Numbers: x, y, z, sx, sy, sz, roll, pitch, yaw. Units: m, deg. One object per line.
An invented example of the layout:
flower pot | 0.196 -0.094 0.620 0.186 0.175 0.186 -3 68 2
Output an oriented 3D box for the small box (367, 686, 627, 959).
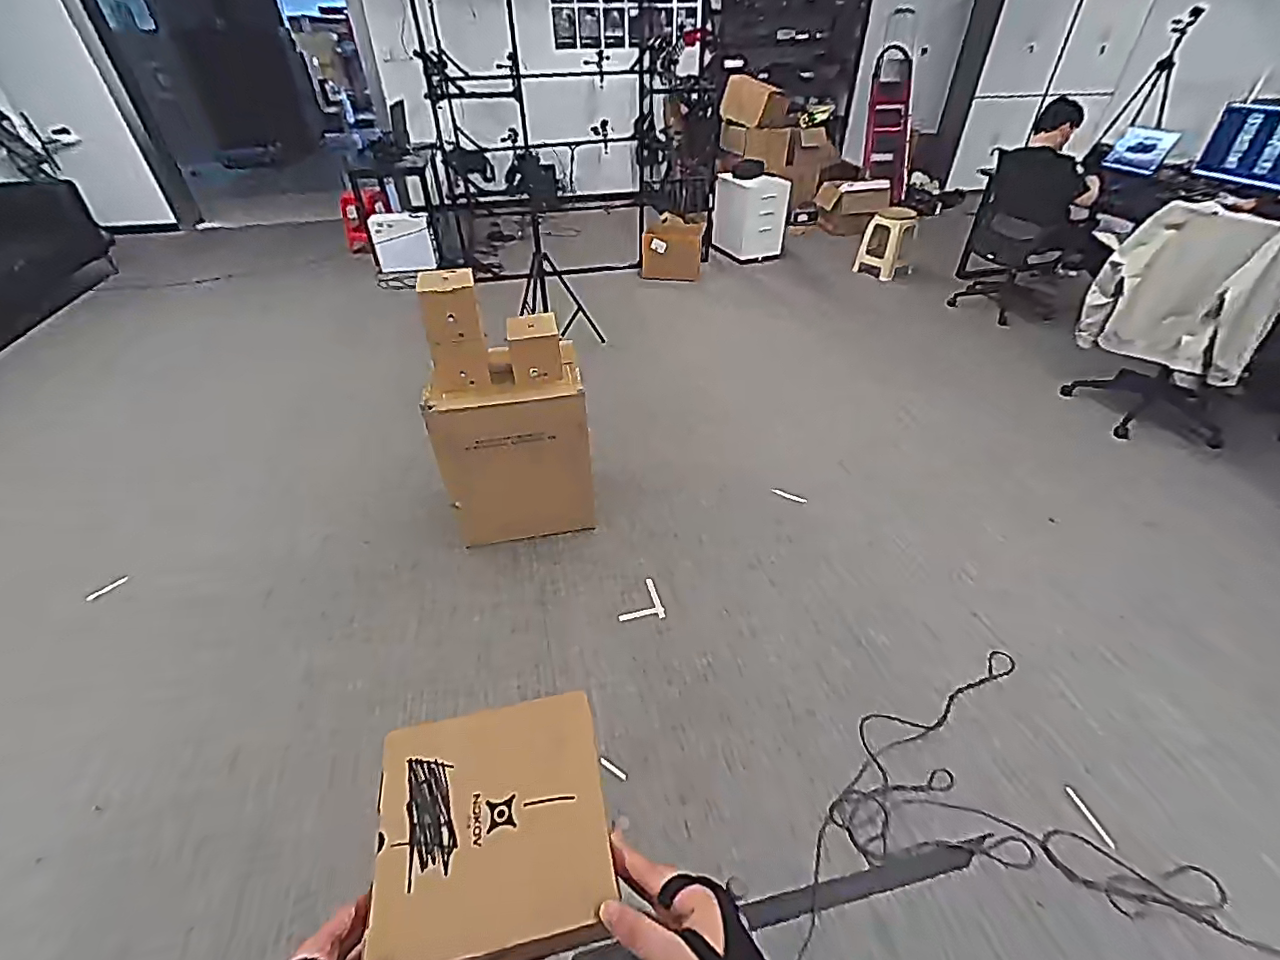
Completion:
small box | -0.112 0.312 0.481 0.179 0.176 0.168 -9 47 -9

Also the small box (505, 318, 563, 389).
small box | -0.362 -0.431 1.847 0.168 0.176 0.179 -10 42 -8

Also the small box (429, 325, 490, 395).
small box | -0.603 -0.405 1.816 0.168 0.176 0.179 -9 40 -11

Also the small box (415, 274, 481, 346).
small box | -0.604 -0.533 1.714 0.168 0.176 0.179 -10 41 -12
